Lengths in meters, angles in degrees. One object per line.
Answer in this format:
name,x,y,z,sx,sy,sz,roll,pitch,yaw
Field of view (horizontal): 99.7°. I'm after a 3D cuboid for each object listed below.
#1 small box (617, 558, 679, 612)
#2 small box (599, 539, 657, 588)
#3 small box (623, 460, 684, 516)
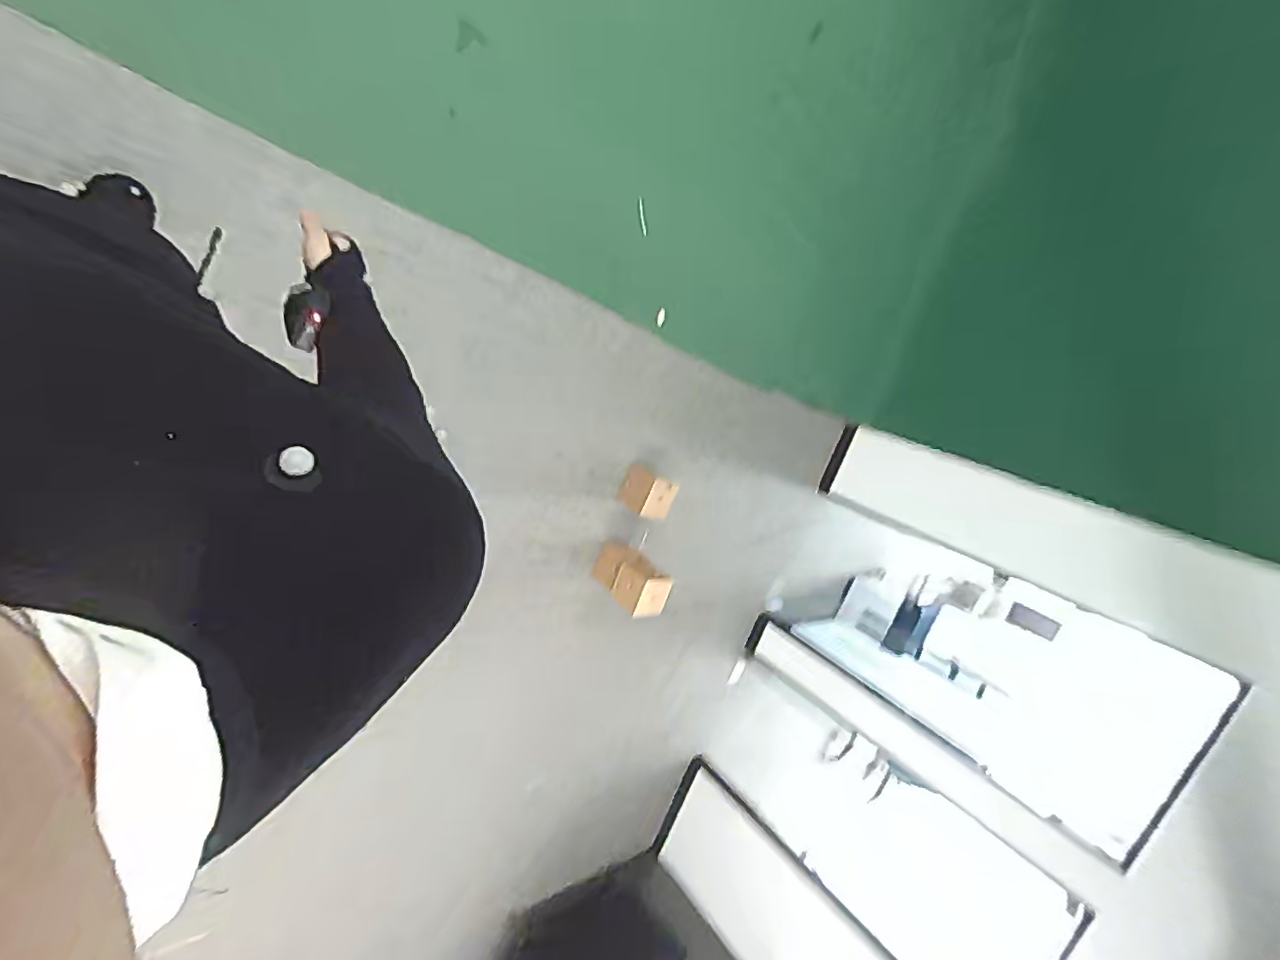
small box,0.031,0.446,2.315,0.179,0.176,0.168,8,107,-45
small box,-0.059,0.382,2.435,0.168,0.176,0.179,13,104,-46
small box,0.053,0.036,2.348,0.168,0.176,0.179,15,102,-47
